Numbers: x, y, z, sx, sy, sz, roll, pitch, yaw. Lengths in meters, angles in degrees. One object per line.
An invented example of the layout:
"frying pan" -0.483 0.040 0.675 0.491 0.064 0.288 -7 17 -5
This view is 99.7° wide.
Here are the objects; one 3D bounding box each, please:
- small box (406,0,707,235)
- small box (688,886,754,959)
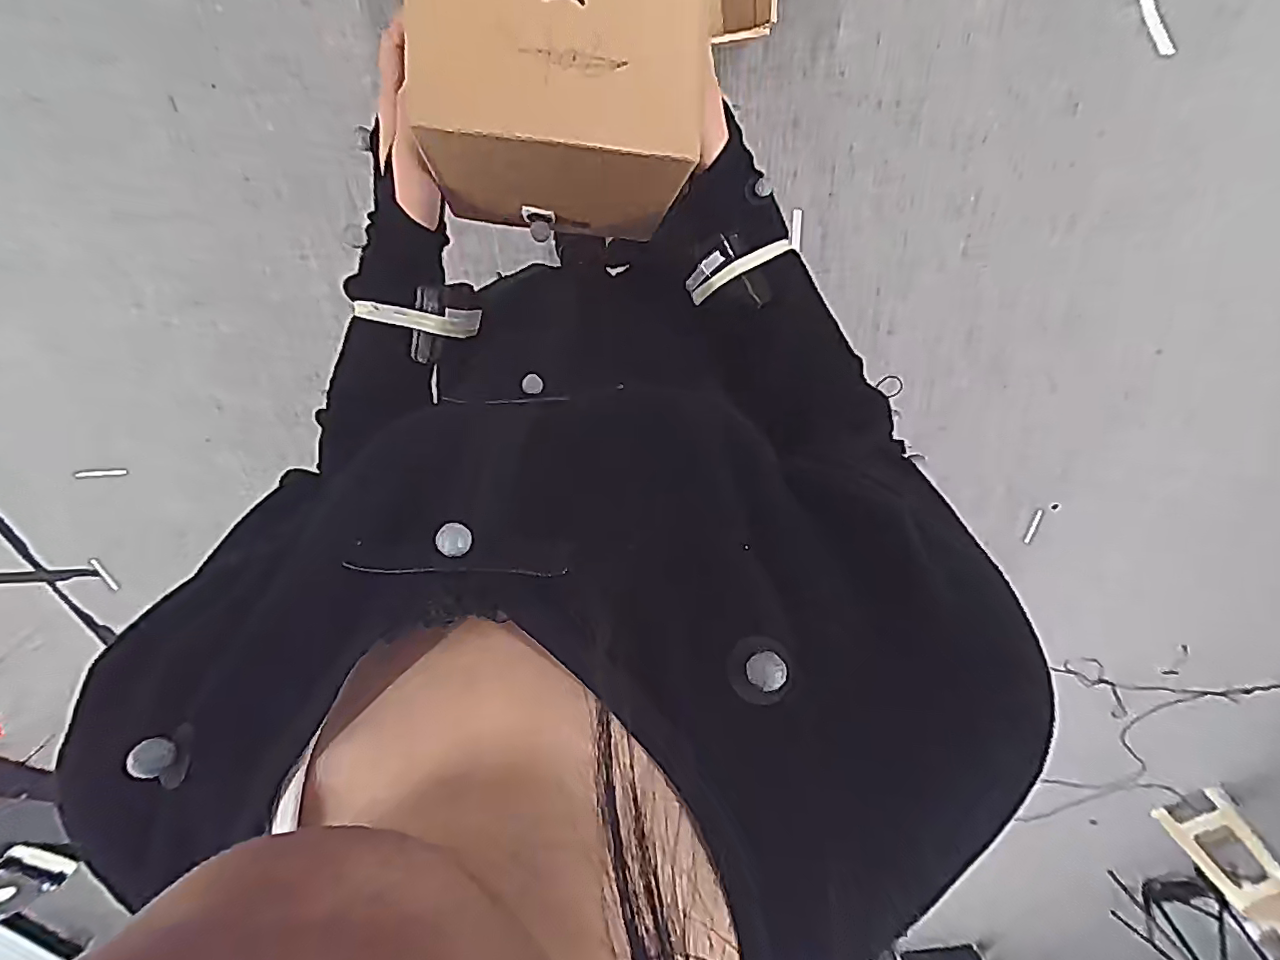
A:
"small box" -0.056 -0.292 0.373 0.168 0.176 0.179 1 99 -10
"small box" 0.233 1.317 1.576 0.168 0.176 0.179 -6 124 1
